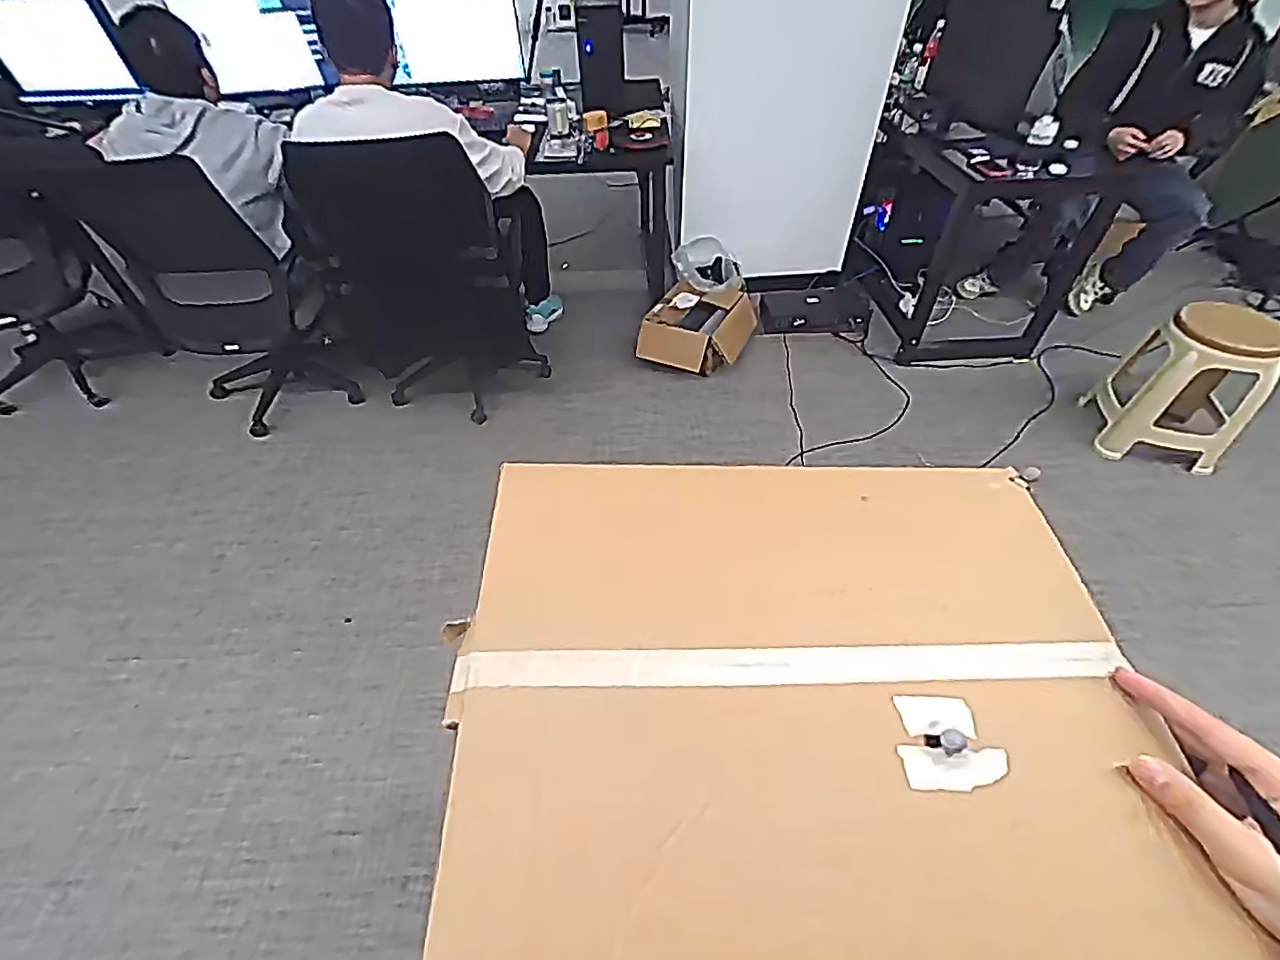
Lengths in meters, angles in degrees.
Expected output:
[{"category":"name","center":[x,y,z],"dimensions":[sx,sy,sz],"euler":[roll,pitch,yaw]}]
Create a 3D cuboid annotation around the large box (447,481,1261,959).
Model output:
[{"category":"large box","center":[0.091,0.213,0.454],"dimensions":[0.408,0.320,0.320],"euler":[0,53,-4]}]
